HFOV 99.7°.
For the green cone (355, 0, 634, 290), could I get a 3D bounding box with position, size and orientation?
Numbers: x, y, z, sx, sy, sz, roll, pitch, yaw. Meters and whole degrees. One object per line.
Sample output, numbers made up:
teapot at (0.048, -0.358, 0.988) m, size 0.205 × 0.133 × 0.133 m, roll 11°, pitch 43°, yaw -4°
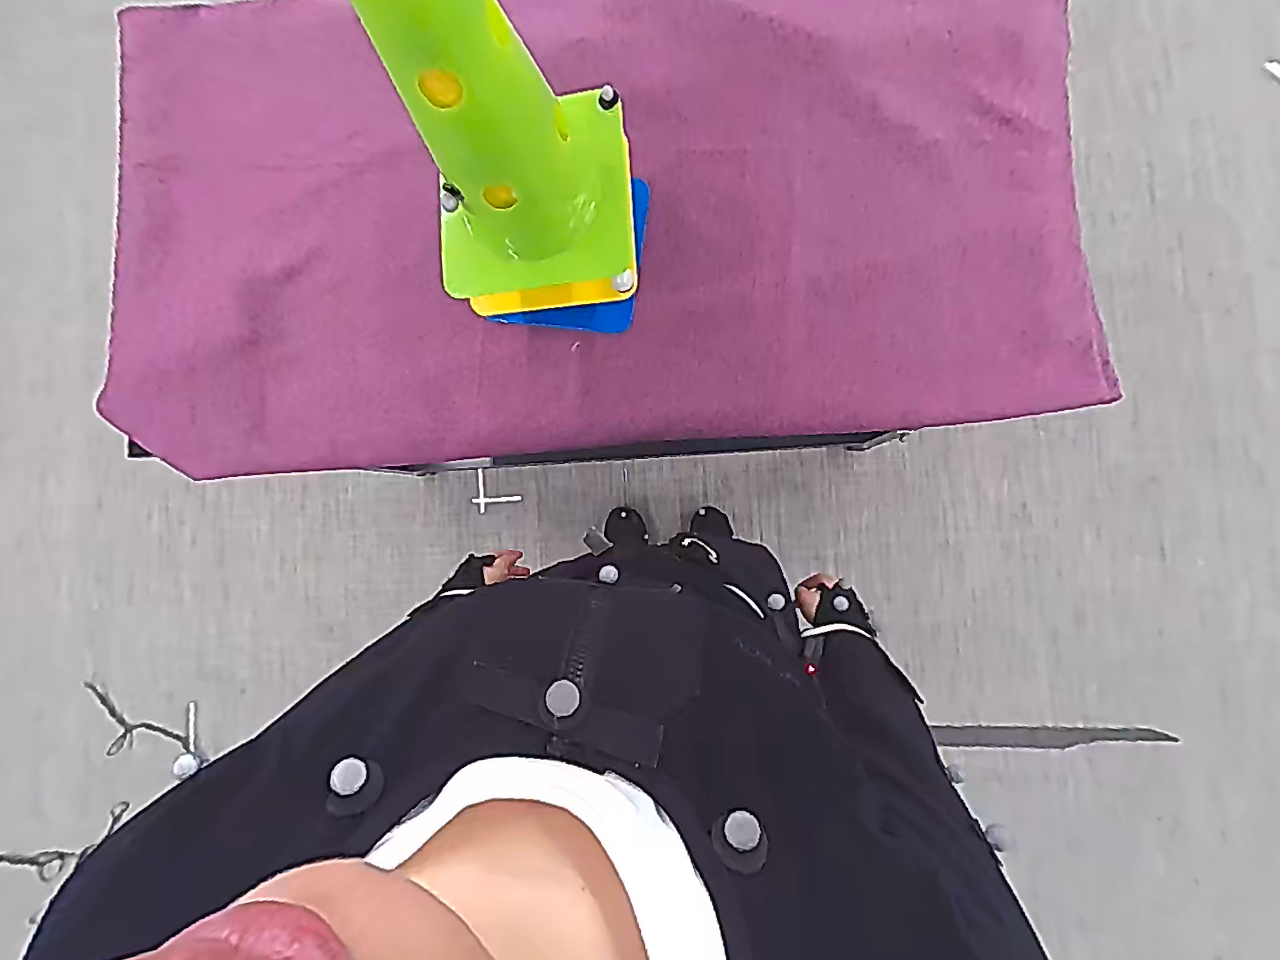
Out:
green cone at (-0.138, -0.311, 0.375) m, size 0.200 × 0.368 × 0.202 m, roll -6°, pitch 85°, yaw 9°
